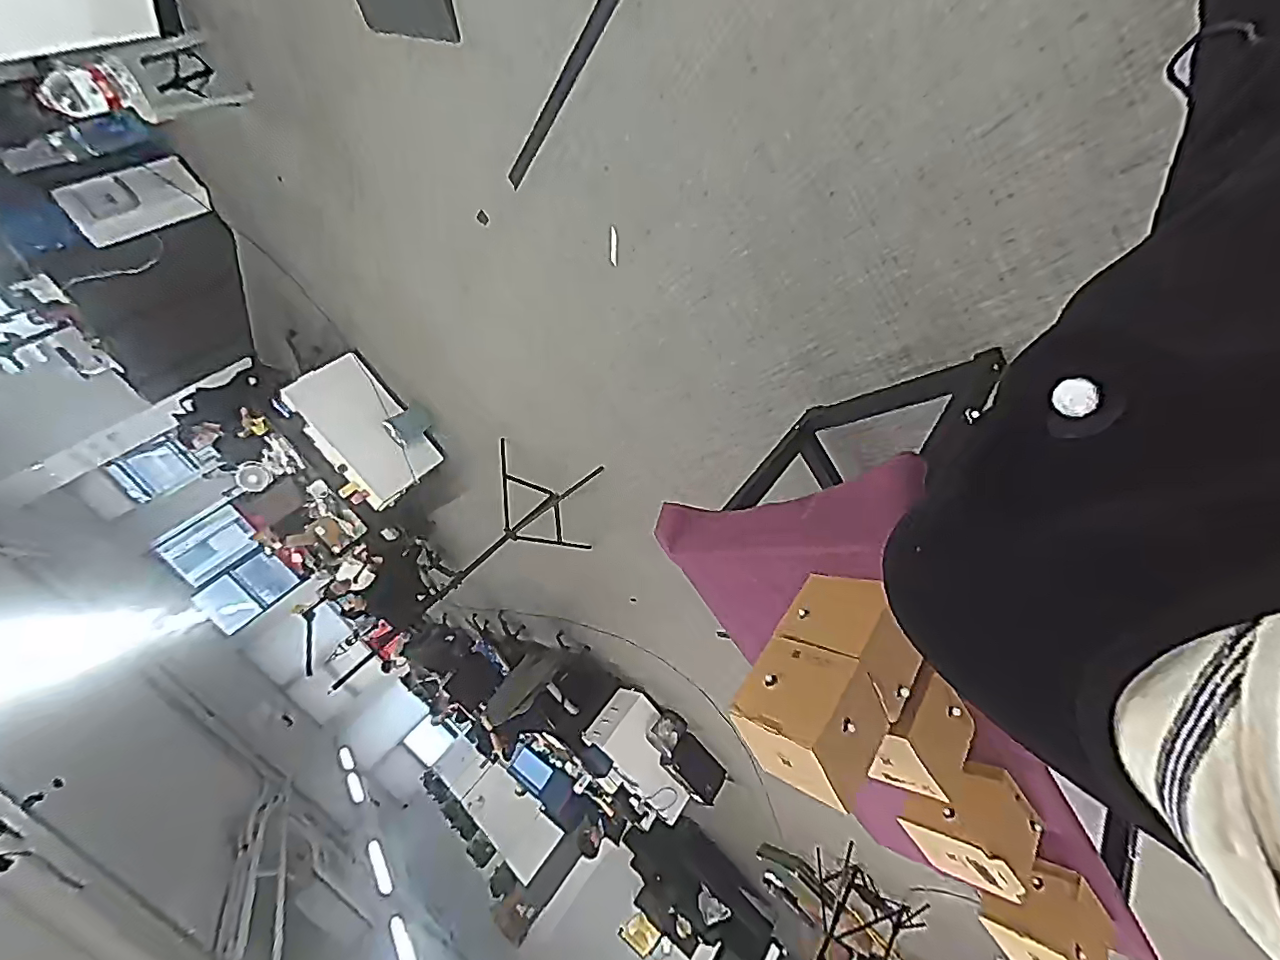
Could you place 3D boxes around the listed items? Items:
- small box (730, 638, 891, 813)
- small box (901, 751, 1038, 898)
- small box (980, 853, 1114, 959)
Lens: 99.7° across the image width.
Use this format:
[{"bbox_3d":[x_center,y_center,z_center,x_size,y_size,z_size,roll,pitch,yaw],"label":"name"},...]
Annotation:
[{"bbox_3d":[0.285,0.391,0.892,0.168,0.176,0.179,3,131,51],"label":"small box"},{"bbox_3d":[0.677,0.687,1.103,0.168,0.176,0.179,52,149,-12],"label":"small box"},{"bbox_3d":[0.880,0.936,1.163,0.179,0.176,0.168,53,148,-12],"label":"small box"}]
